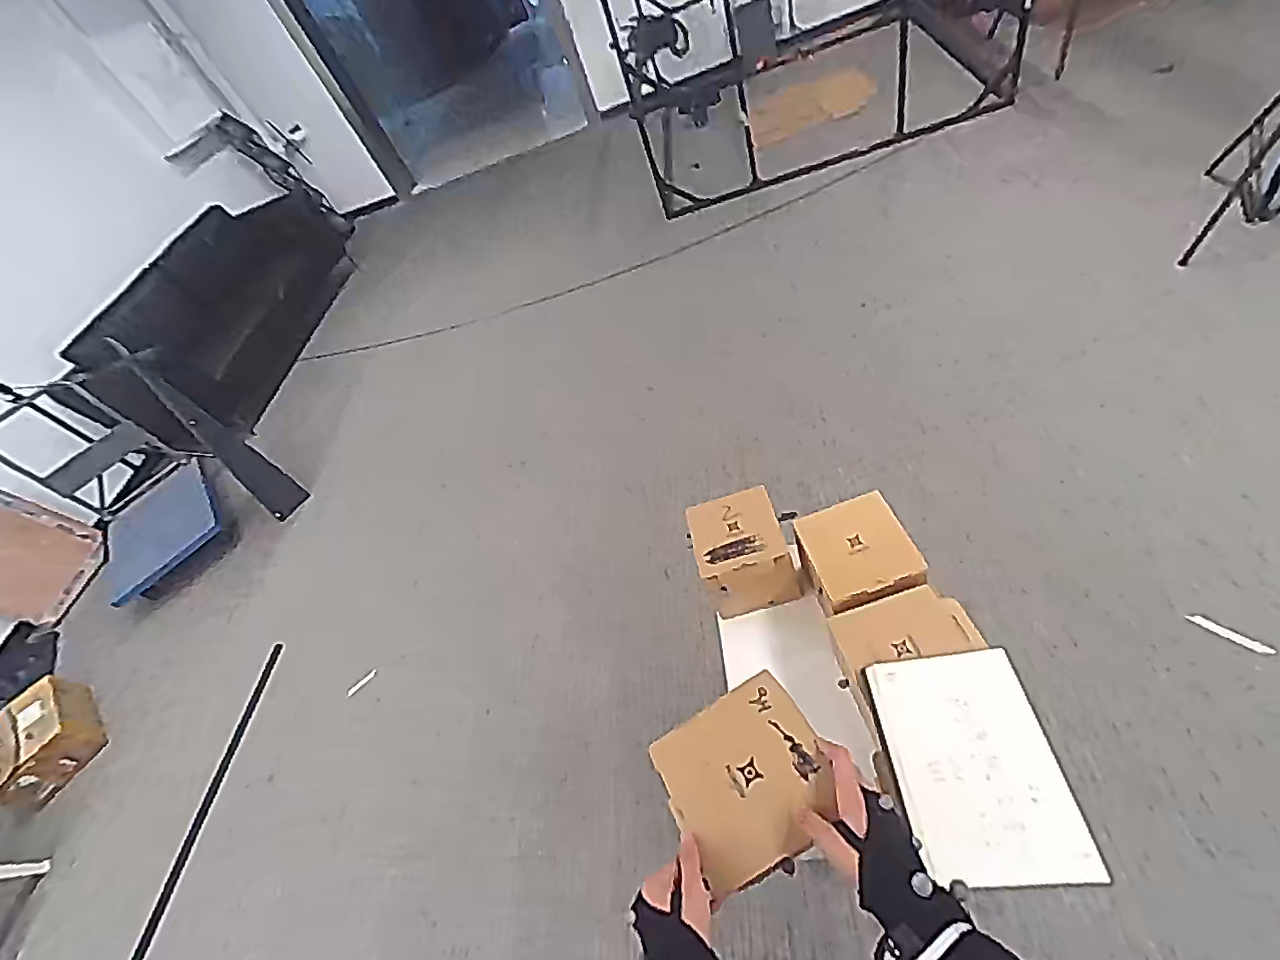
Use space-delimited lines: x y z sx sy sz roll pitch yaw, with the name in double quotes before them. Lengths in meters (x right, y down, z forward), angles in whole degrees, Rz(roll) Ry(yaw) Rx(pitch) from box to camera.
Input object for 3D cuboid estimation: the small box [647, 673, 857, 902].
"small box" 0.141 0.369 0.657 0.179 0.176 0.168 -35 53 2
